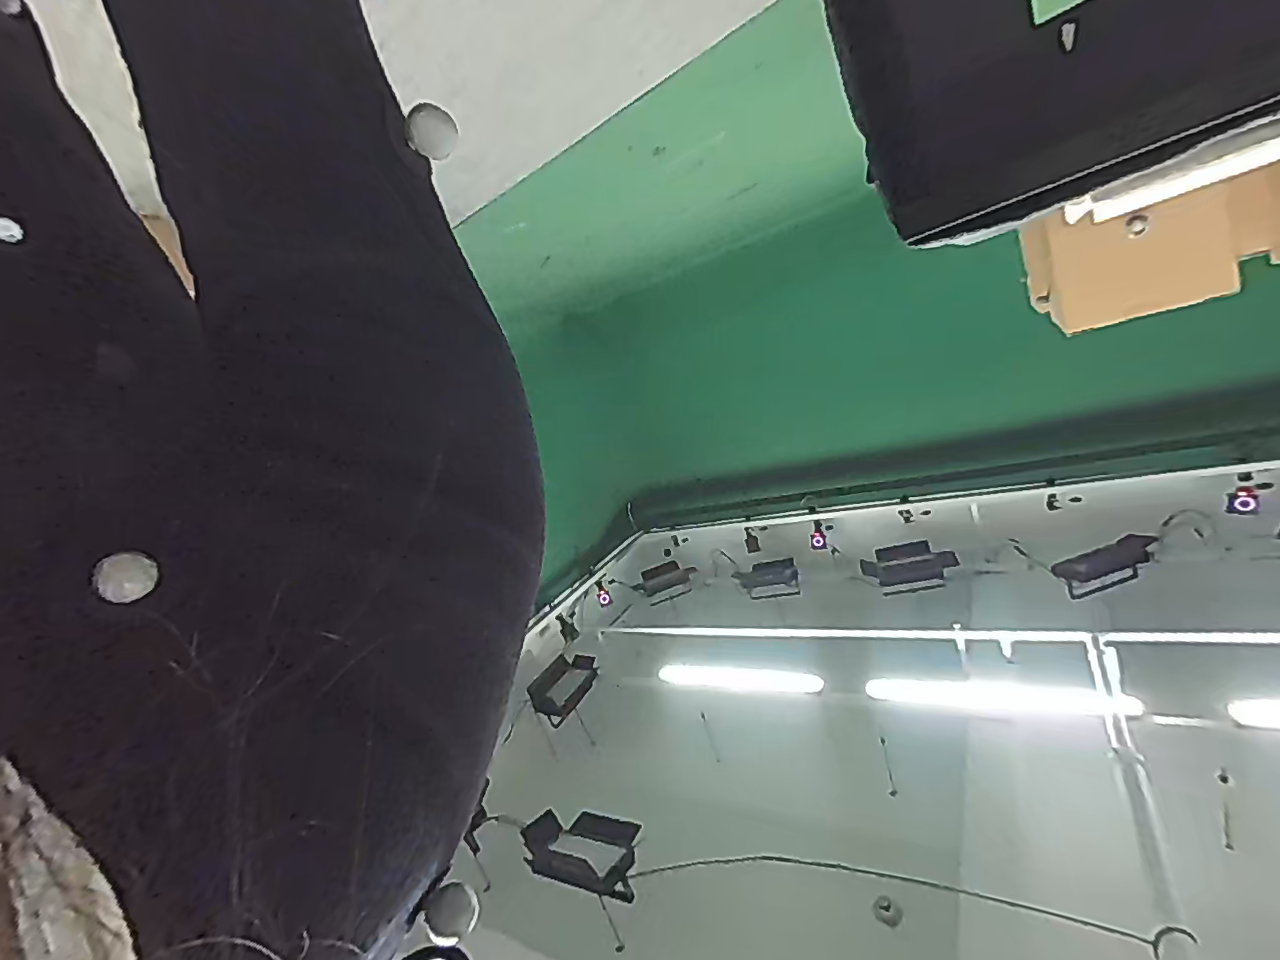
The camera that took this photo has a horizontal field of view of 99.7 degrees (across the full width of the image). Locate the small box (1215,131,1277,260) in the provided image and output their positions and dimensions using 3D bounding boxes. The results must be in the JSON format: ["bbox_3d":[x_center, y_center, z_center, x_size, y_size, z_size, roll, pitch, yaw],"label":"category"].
[{"bbox_3d":[0.996,-0.456,0.831,0.179,0.176,0.168,-10,-166,32],"label":"small box"}]

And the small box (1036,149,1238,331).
[{"bbox_3d":[0.654,-0.317,0.731,0.168,0.176,0.179,-12,-167,35],"label":"small box"}]

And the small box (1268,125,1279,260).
[{"bbox_3d":[0.855,-0.360,0.597,0.179,0.176,0.168,-12,-166,32],"label":"small box"}]
